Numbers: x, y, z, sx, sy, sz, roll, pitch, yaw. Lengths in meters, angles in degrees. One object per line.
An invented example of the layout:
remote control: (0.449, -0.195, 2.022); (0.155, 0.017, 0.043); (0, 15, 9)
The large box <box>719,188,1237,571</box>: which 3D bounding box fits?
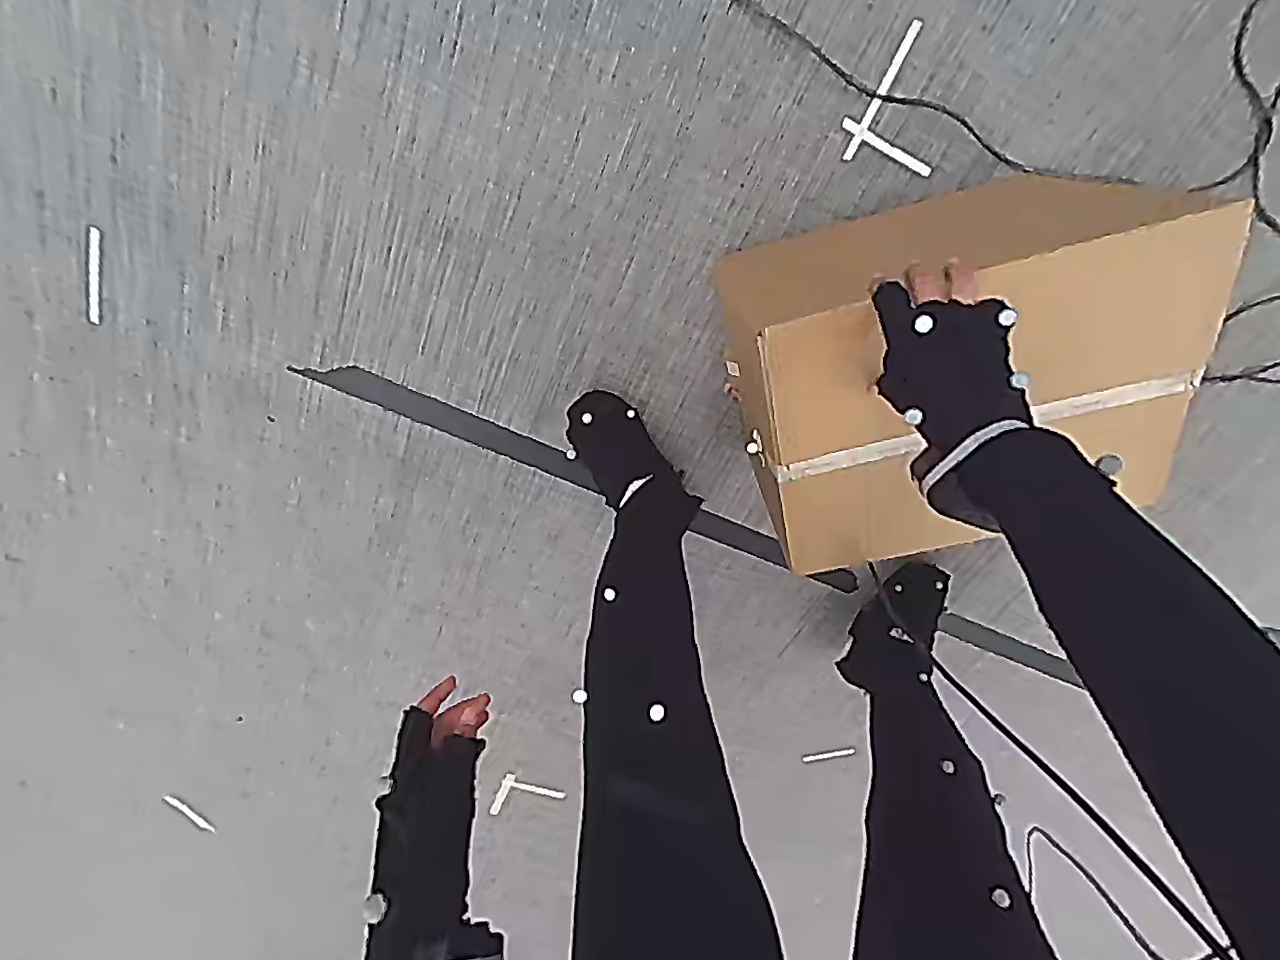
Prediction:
large box: (0.329, -0.125, 0.663); (0.408, 0.320, 0.320); (-11, 125, 8)
